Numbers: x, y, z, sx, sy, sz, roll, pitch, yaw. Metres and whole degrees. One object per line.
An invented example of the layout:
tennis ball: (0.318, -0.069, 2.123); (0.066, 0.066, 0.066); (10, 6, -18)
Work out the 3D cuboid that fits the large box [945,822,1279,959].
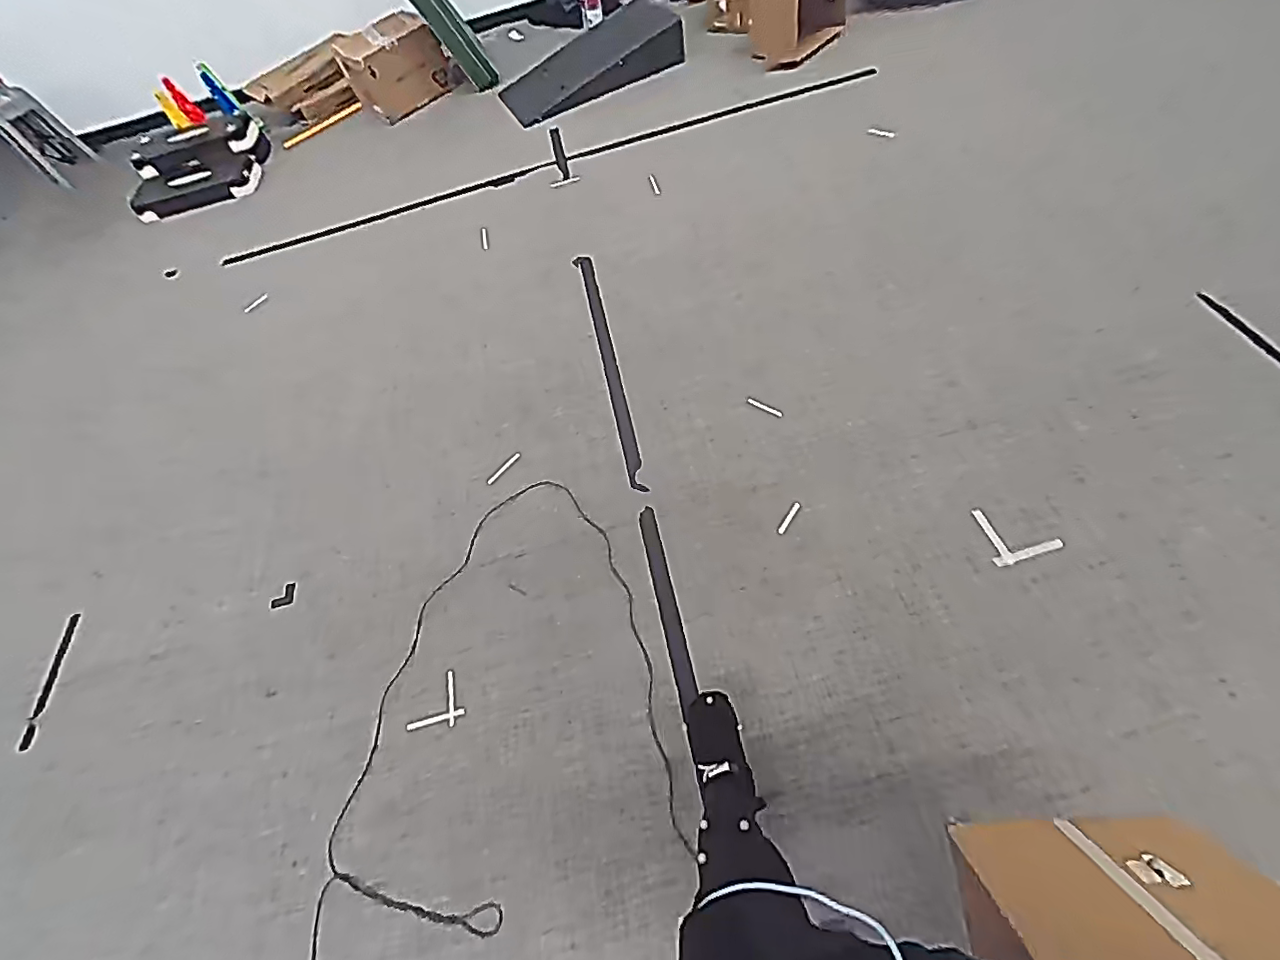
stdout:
large box: (0.607, 0.652, 0.602); (0.320, 0.408, 0.320); (-8, 82, 10)
